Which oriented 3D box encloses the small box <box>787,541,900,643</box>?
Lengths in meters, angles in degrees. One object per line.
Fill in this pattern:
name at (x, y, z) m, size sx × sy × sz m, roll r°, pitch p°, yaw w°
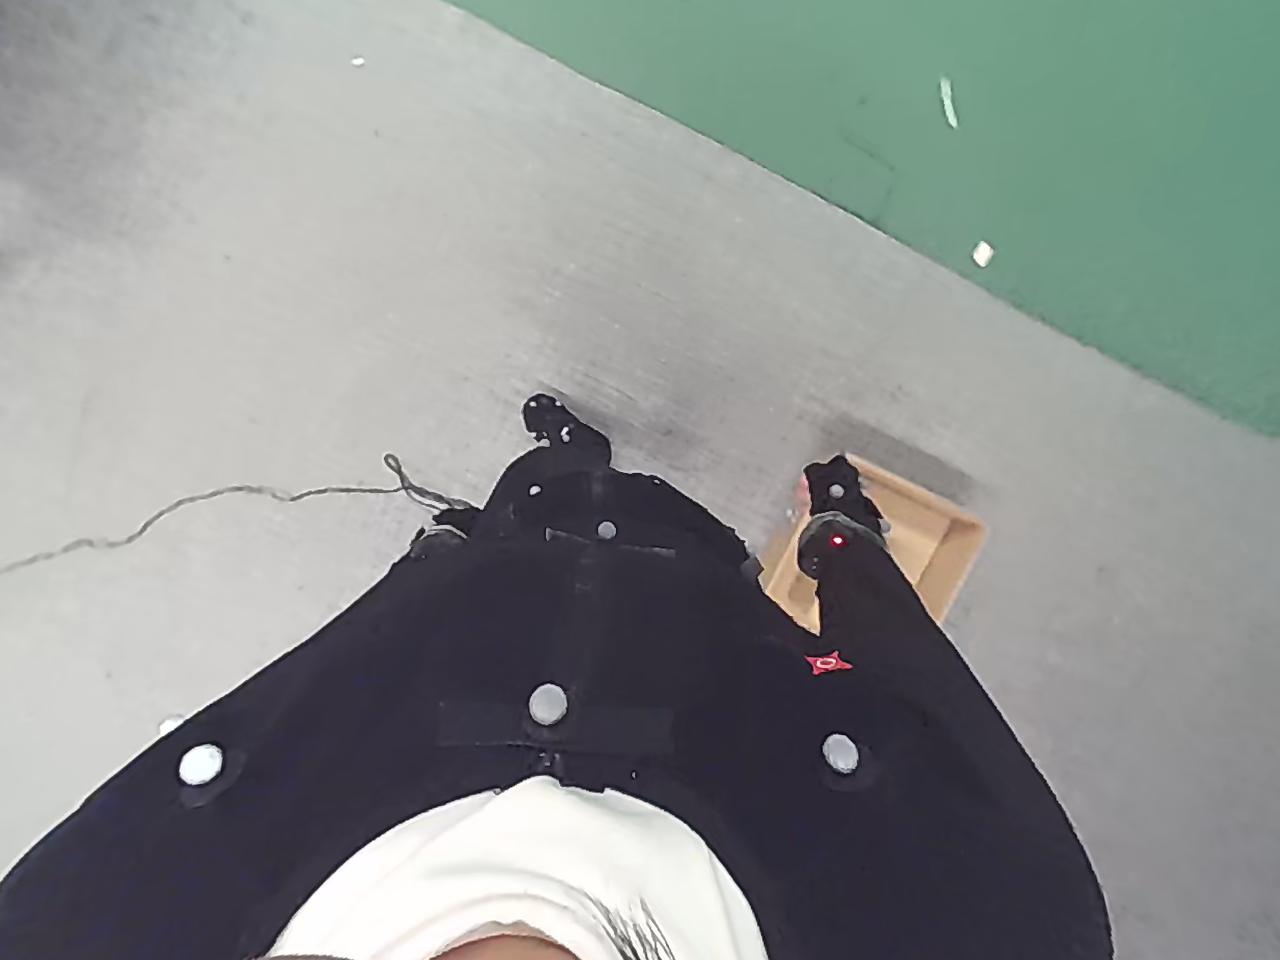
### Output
small box at (0.483, 0.261, 1.316) m, size 0.179 × 0.176 × 0.168 m, roll 26°, pitch 95°, yaw -3°
